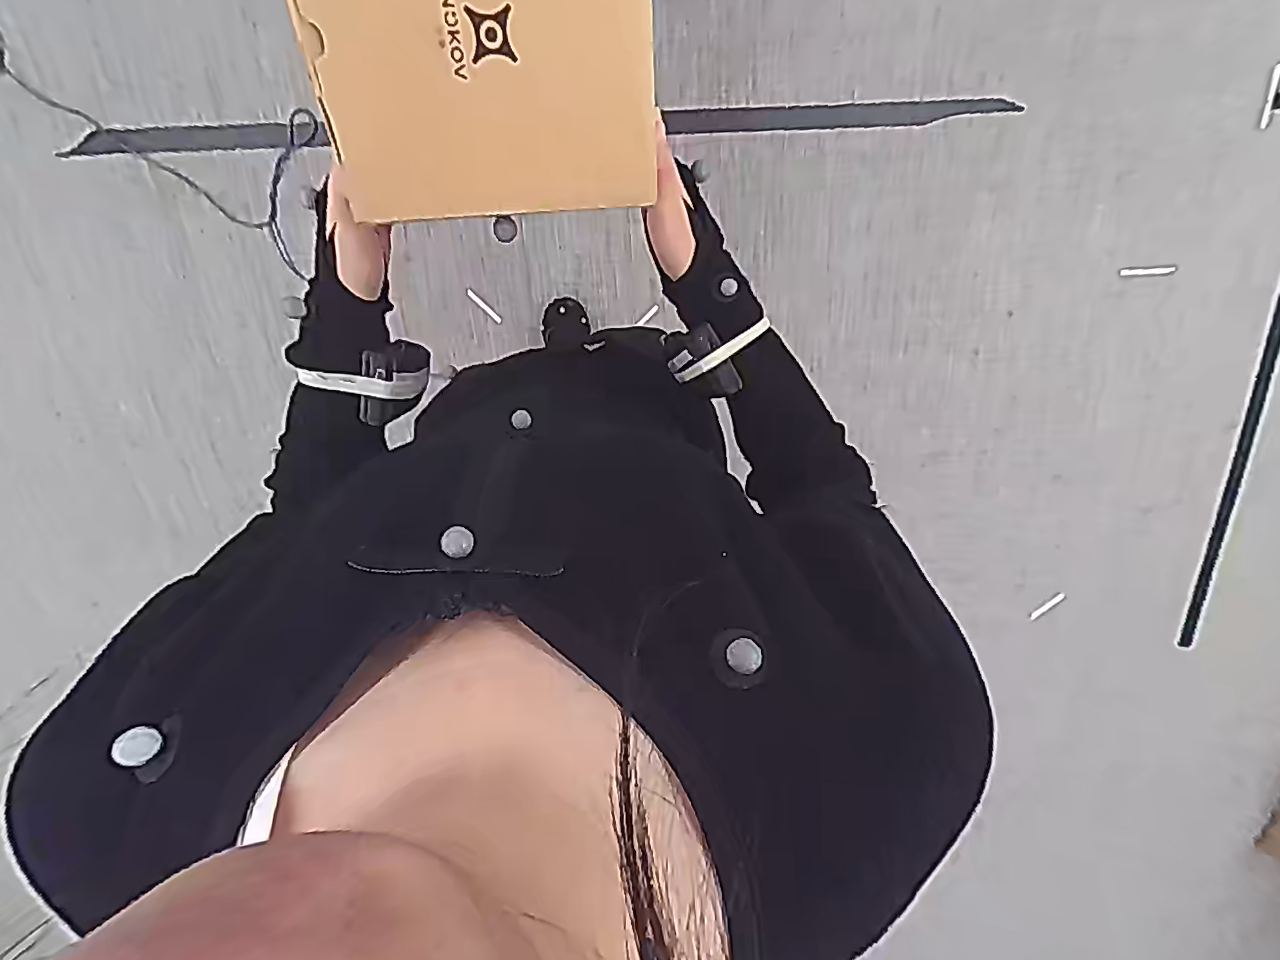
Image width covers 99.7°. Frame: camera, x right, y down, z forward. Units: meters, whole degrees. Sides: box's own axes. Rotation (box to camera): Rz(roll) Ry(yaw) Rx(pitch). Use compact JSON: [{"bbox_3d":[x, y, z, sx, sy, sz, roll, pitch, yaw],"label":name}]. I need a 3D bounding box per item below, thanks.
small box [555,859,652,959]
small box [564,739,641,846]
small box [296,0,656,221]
[{"bbox_3d":[-0.069,0.884,1.060,0.179,0.176,0.168,-2,107,-4],"label":"small box"},{"bbox_3d":[-0.094,0.784,1.373,0.179,0.176,0.168,-5,107,-2],"label":"small box"},{"bbox_3d":[-0.088,-0.267,0.344,0.179,0.176,0.168,-5,121,-3],"label":"small box"}]
